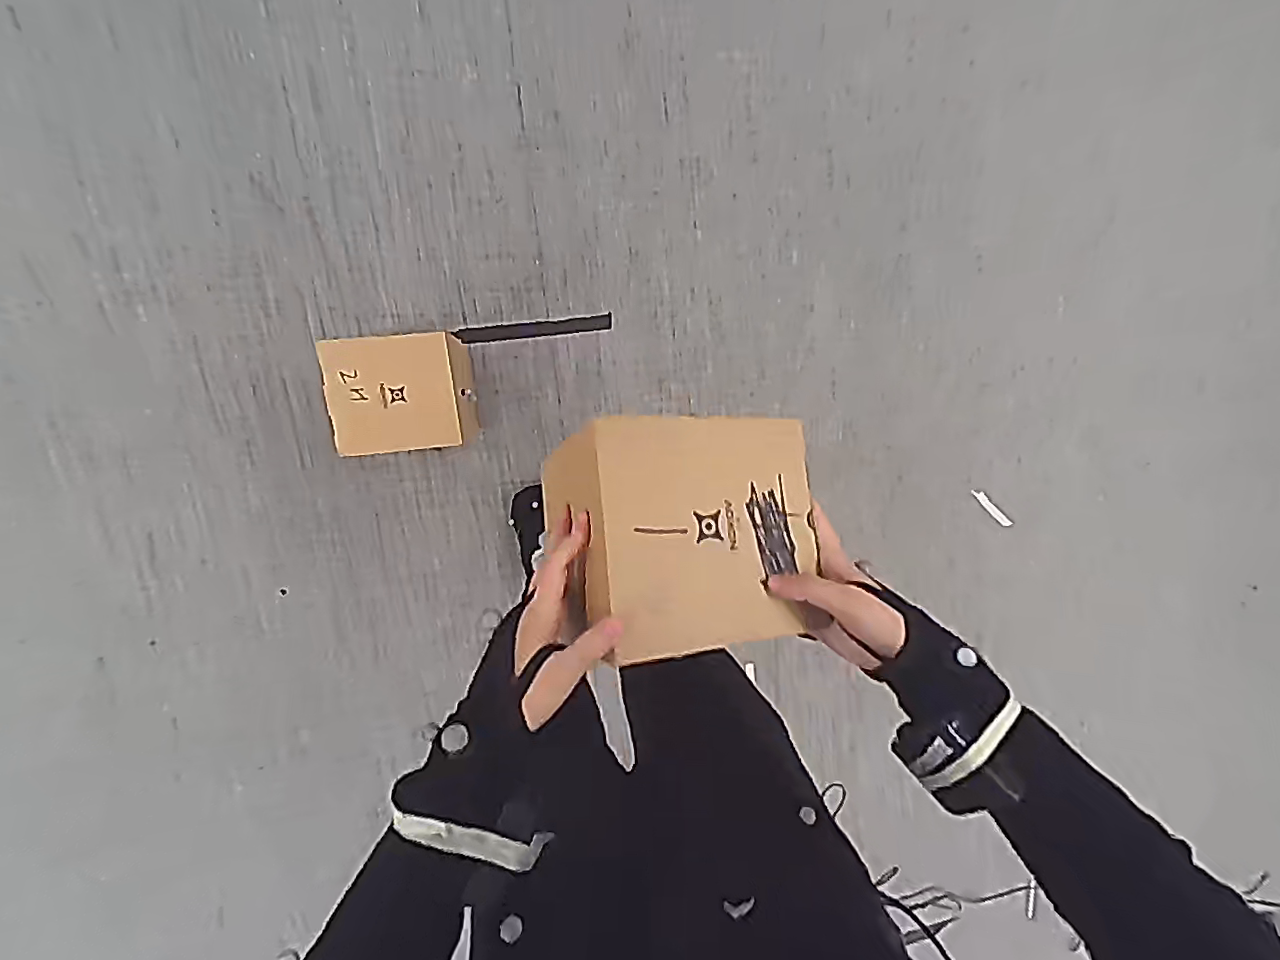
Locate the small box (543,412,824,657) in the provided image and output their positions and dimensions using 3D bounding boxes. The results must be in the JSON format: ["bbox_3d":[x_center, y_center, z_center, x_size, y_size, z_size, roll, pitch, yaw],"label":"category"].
[{"bbox_3d":[0.024,0.045,0.462,0.179,0.176,0.168,-2,81,-22],"label":"small box"}]

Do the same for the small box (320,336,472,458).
[{"bbox_3d":[-0.366,-0.133,0.850,0.179,0.176,0.168,-7,100,-10],"label":"small box"}]
